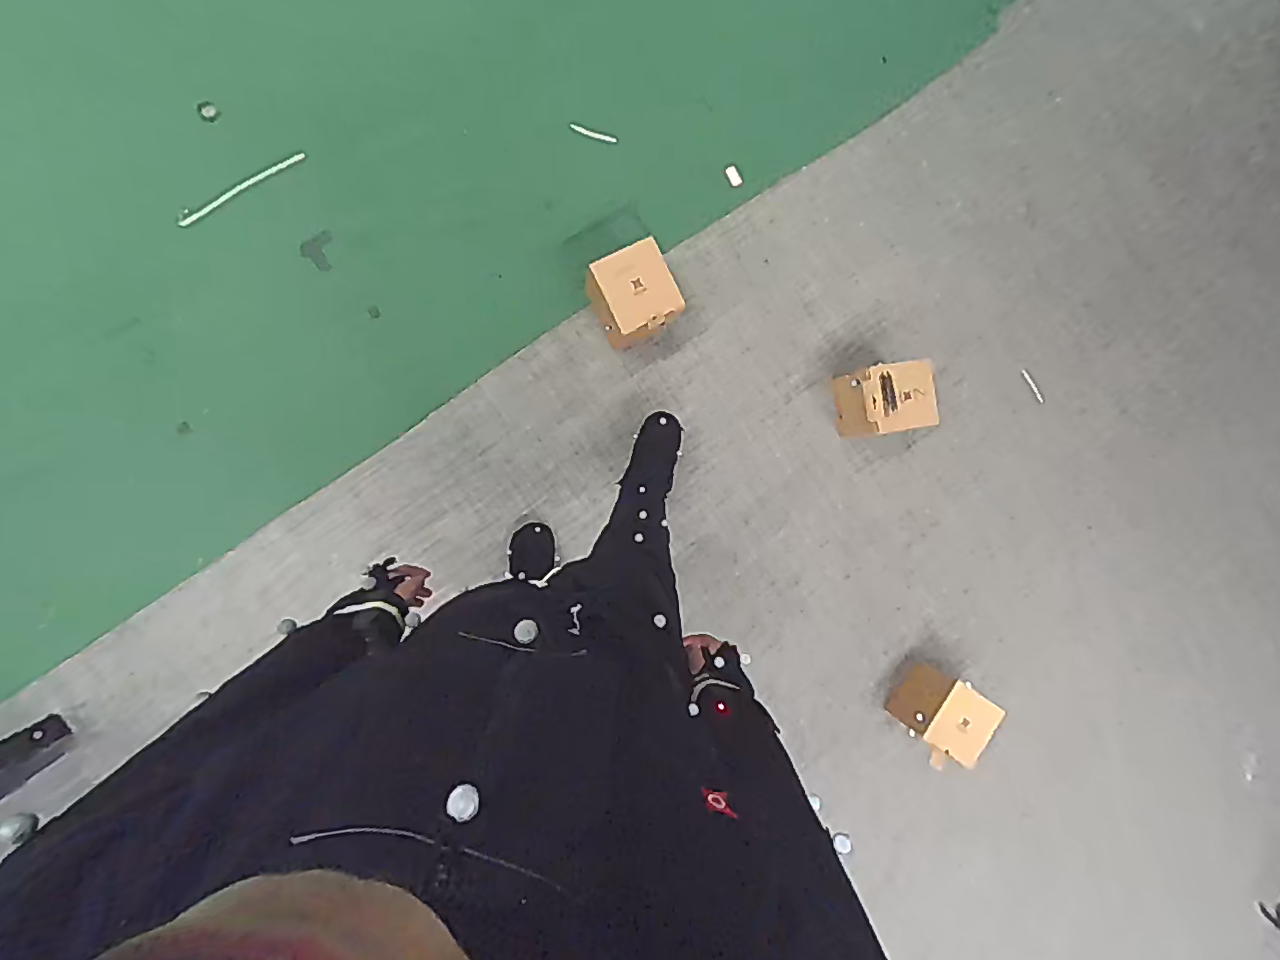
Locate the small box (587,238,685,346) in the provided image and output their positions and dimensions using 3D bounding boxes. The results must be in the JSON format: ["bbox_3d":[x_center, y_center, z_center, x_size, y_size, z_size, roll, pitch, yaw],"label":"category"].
[{"bbox_3d":[-0.016,-0.436,1.295,0.168,0.176,0.179,-28,94,-8],"label":"small box"}]

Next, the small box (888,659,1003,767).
[{"bbox_3d":[0.804,0.610,1.441,0.168,0.176,0.179,34,87,-8],"label":"small box"}]
